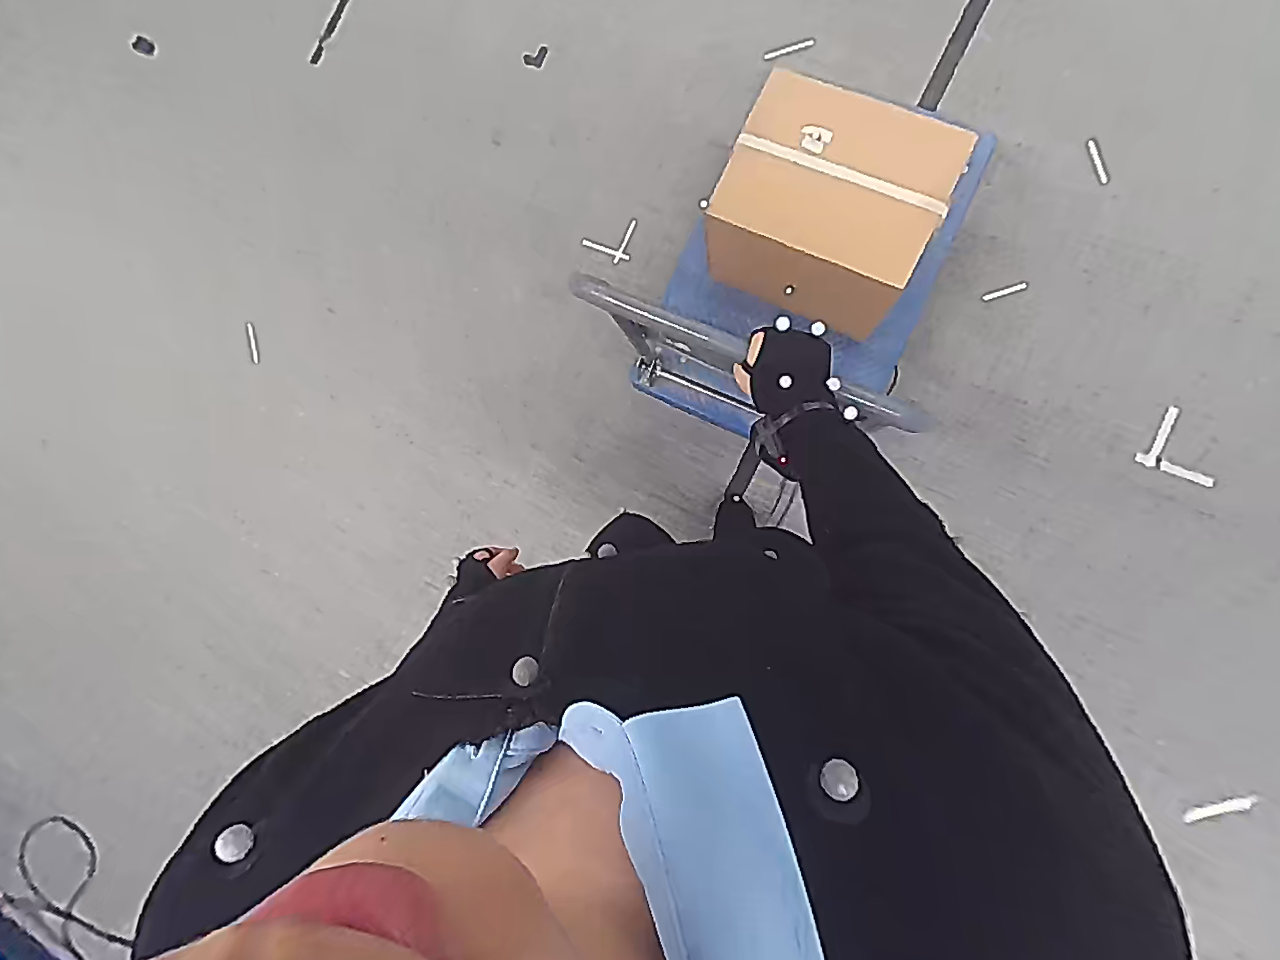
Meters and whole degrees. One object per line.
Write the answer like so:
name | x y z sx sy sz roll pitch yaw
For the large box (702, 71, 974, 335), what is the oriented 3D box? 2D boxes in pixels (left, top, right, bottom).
large box | 0.386 -0.558 1.145 0.408 0.320 0.320 26 90 11
